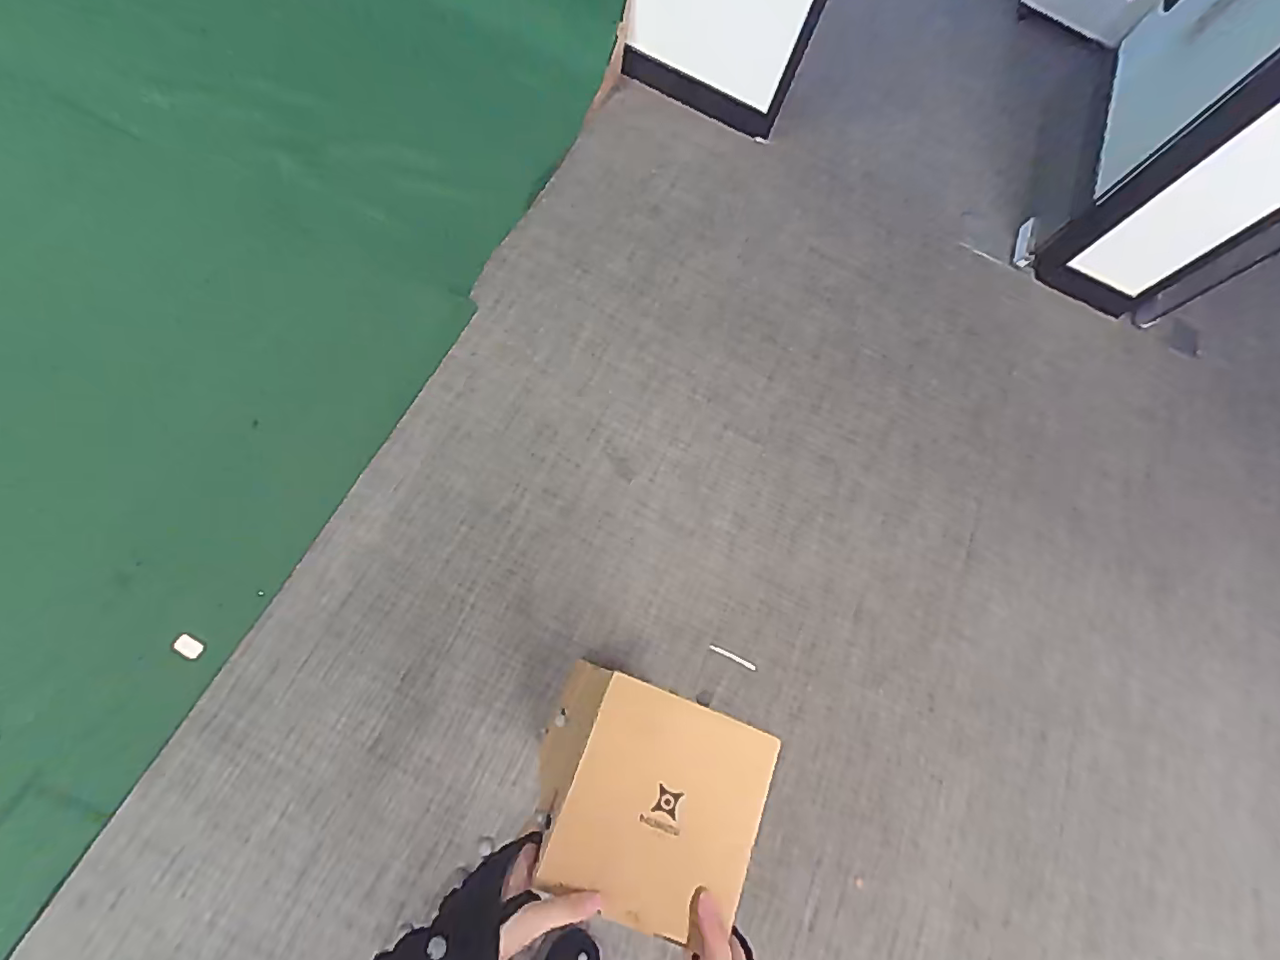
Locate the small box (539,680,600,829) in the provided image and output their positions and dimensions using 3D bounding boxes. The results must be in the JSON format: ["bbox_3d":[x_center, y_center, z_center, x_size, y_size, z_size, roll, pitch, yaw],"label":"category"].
[{"bbox_3d":[-0.012,0.363,0.686,0.179,0.176,0.168,24,70,0],"label":"small box"}]

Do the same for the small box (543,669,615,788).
[{"bbox_3d":[-0.043,0.407,0.842,0.168,0.176,0.179,22,70,-1],"label":"small box"}]

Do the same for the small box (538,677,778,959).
[{"bbox_3d":[0.009,0.307,0.533,0.168,0.176,0.179,23,71,-1],"label":"small box"}]
